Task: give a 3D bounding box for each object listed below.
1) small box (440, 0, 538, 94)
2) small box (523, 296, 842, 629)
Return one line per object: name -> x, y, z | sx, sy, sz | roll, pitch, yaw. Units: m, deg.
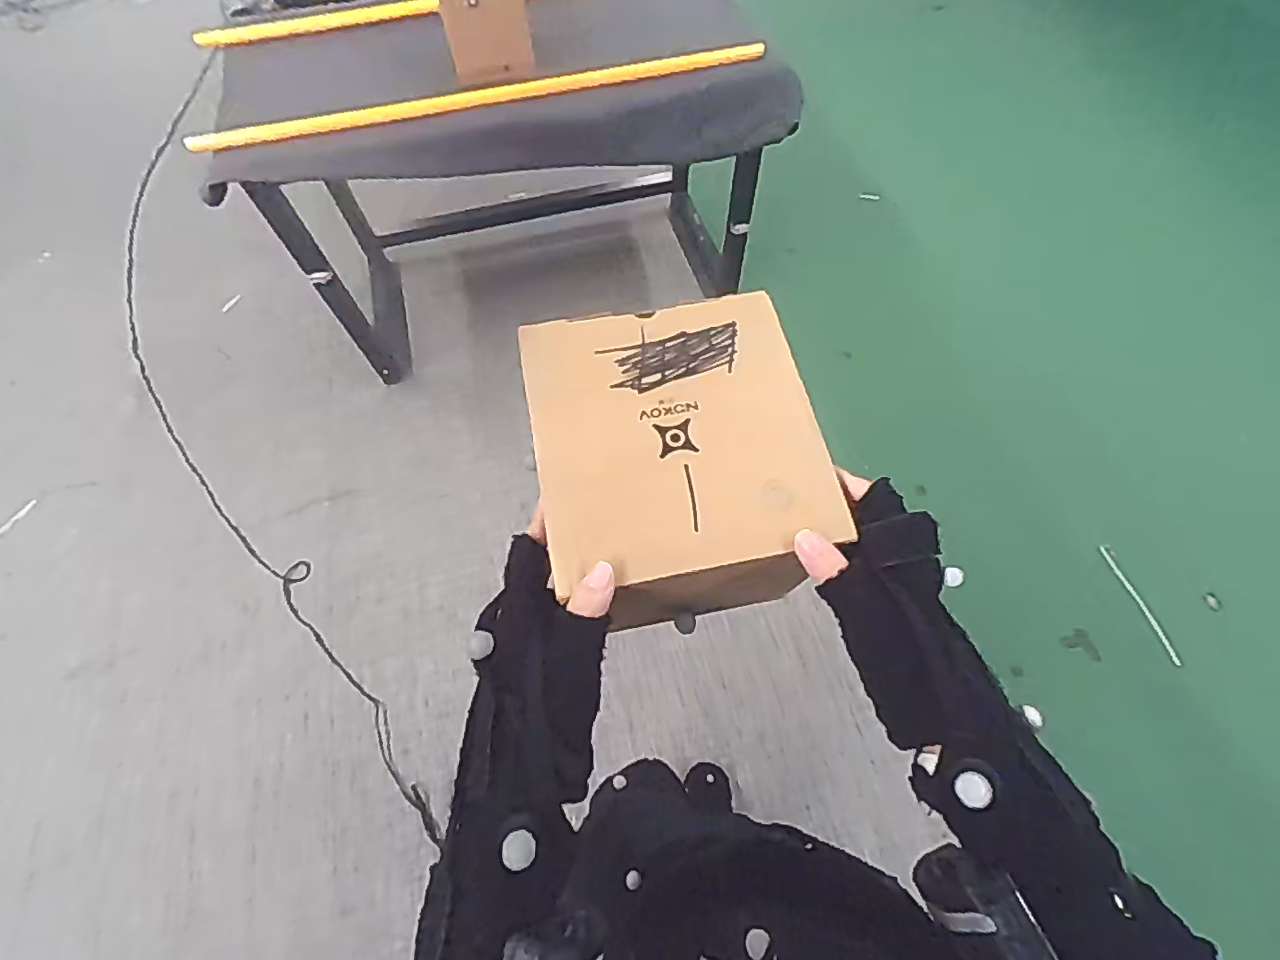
small box -> -0.326, -0.975, 1.168 | 0.168, 0.176, 0.179 | -14, 62, -5
small box -> 0.016, -0.002, 0.399 | 0.168, 0.176, 0.179 | -10, 68, -5
